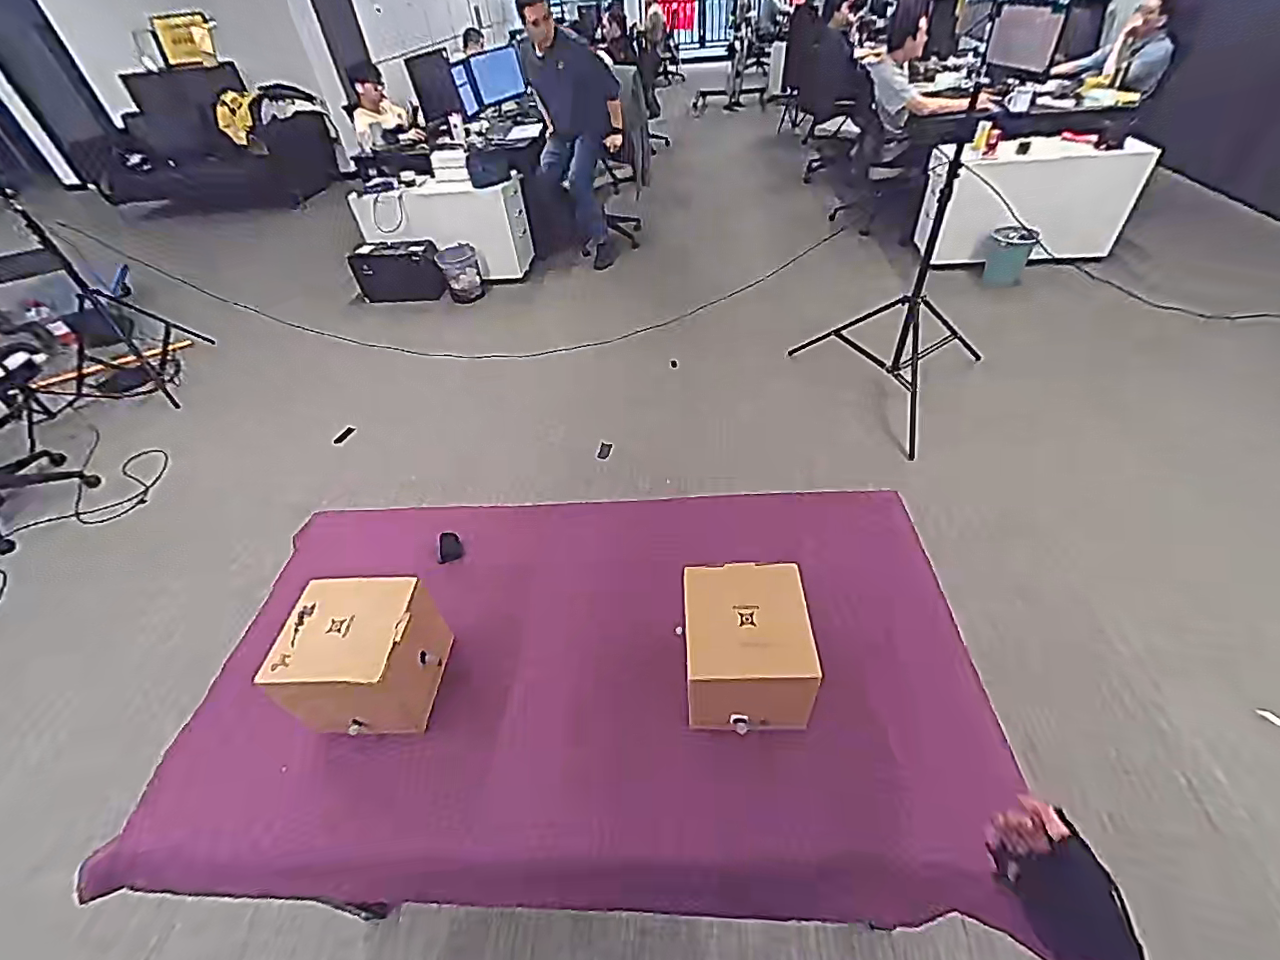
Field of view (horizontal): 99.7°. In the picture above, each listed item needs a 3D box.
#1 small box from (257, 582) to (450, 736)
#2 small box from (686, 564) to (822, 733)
[{"bbox_3d":[-0.409,0.270,0.814,0.179,0.176,0.168,-1,43,4],"label":"small box"},{"bbox_3d":[0.152,0.243,0.781,0.168,0.176,0.179,-4,44,5],"label":"small box"}]
